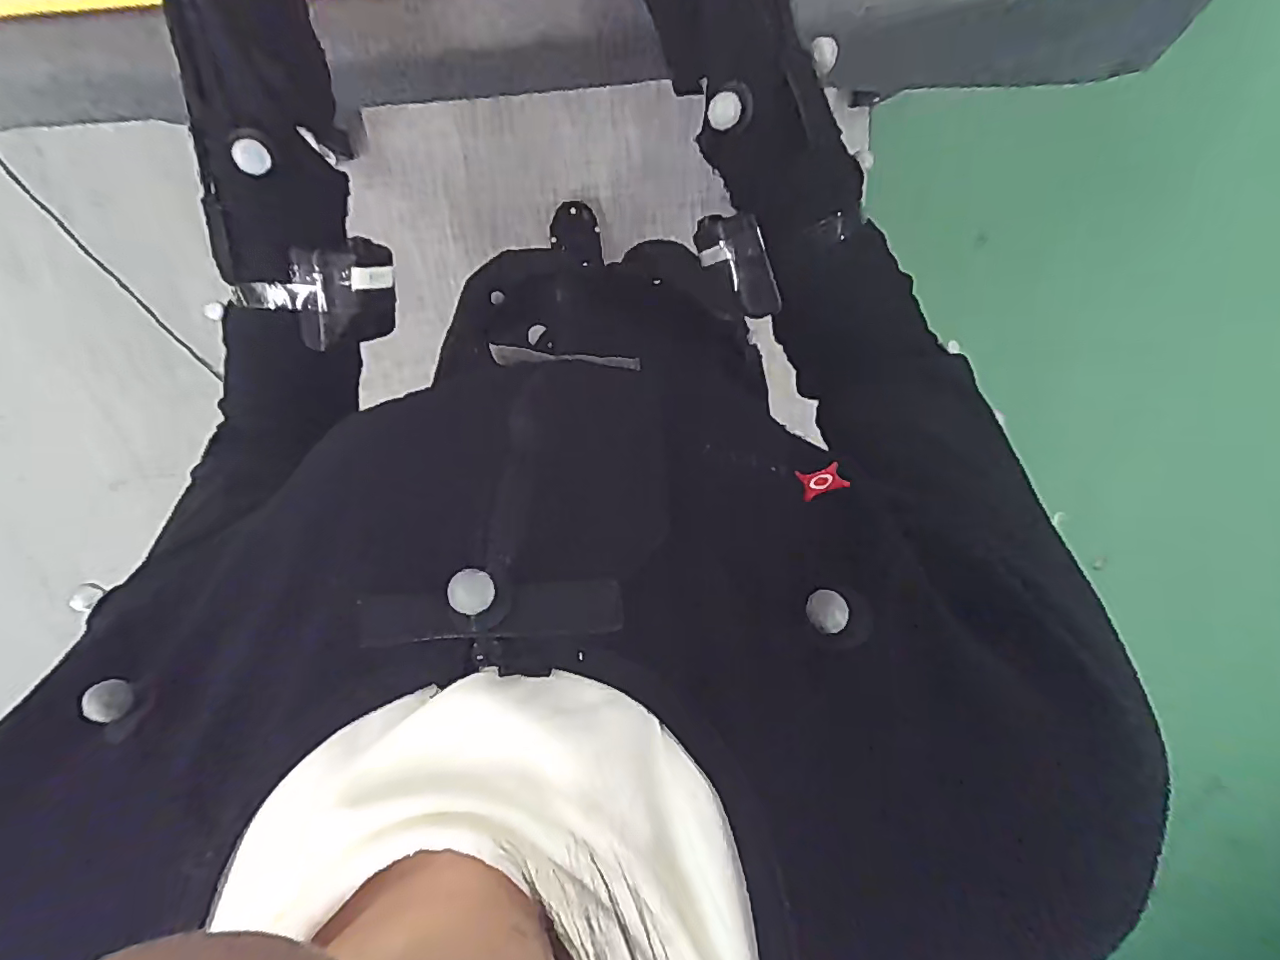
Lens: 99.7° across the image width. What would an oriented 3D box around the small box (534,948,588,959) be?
[{"bbox_3d":[-0.238,1.609,1.683,0.168,0.176,0.179,-13,114,1],"label":"small box"}]
